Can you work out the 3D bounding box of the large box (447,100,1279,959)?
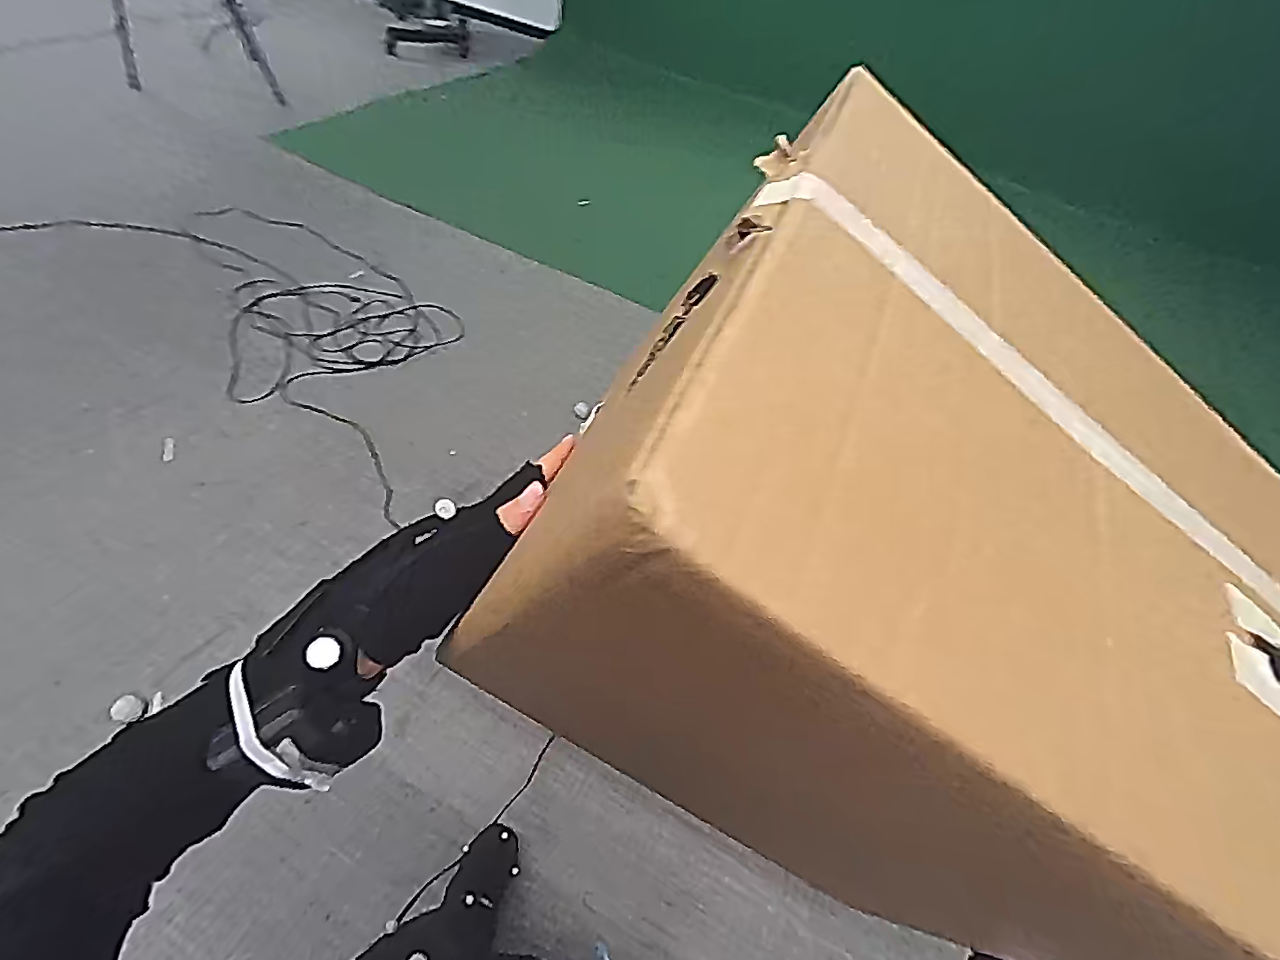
[{"bbox_3d":[0.146,0.062,0.374,0.408,0.320,0.320,36,56,-11],"label":"large box"}]
